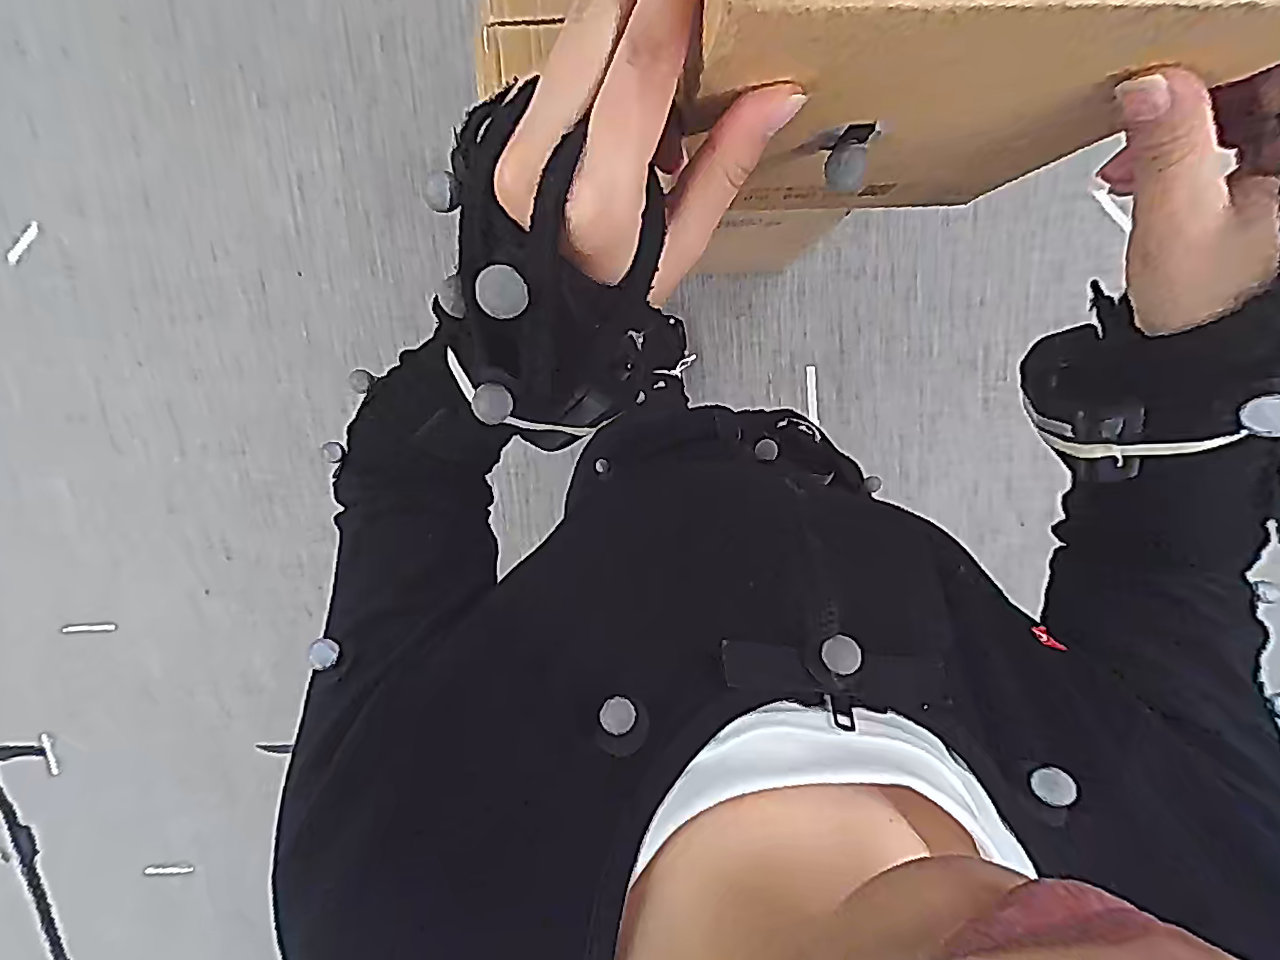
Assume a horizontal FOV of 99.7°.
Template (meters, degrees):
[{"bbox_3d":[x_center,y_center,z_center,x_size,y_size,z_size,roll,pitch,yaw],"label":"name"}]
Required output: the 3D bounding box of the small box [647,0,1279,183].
[{"bbox_3d":[0.090,-0.214,0.179,0.168,0.176,0.179,-3,101,-2],"label":"small box"}]

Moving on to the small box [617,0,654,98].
[{"bbox_3d":[0.067,-0.533,0.571,0.179,0.176,0.168,-1,101,1],"label":"small box"}]
